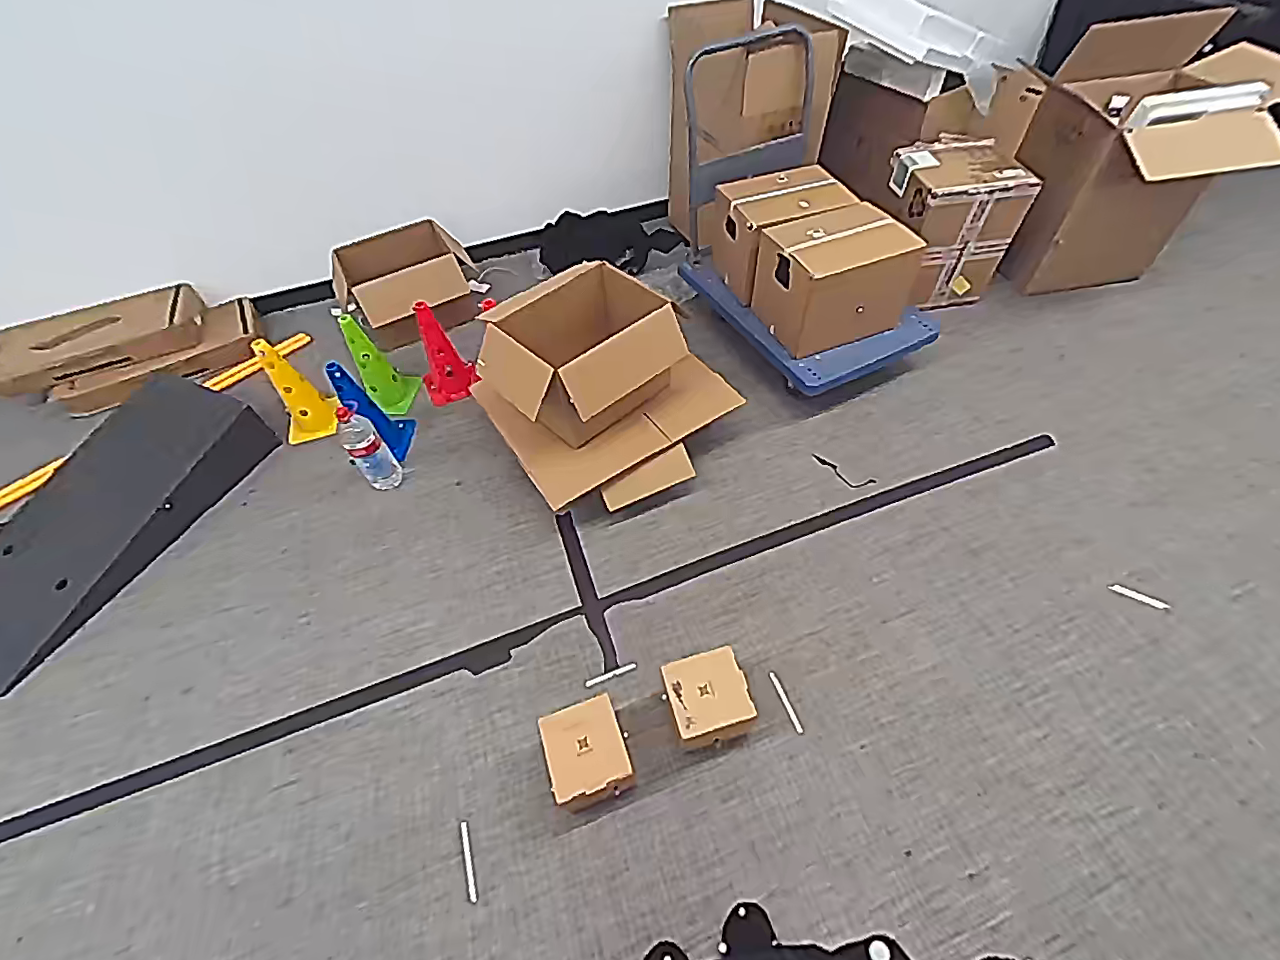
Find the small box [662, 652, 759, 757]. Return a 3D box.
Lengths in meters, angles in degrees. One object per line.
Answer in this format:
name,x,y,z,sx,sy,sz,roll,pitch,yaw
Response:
small box,0.156,0.526,1.264,0.179,0.176,0.168,-13,54,-8

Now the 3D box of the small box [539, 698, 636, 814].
small box,-0.113,0.621,1.206,0.168,0.176,0.179,-18,53,-11
